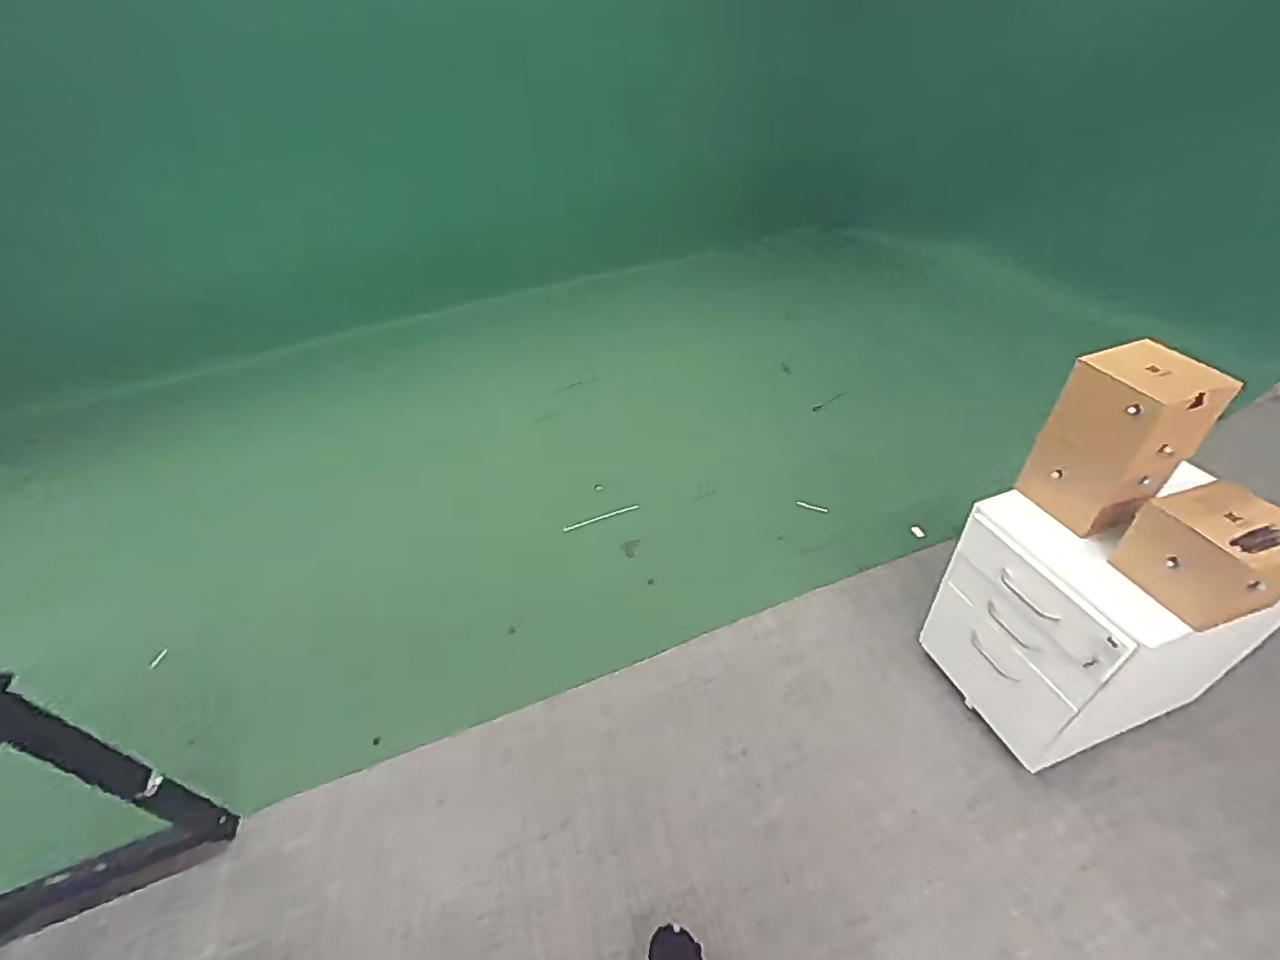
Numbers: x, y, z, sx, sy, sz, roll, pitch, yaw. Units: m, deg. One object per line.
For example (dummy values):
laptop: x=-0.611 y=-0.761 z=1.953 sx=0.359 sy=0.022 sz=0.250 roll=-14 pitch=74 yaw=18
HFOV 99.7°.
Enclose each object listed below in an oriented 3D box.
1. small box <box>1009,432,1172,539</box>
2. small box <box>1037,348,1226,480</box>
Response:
small box: x=0.938 y=-0.005 z=1.148 sx=0.168 sy=0.176 sz=0.179 roll=-17 pitch=42 yaw=-11
small box: x=0.925 y=-0.128 z=1.041 sx=0.168 sy=0.176 sz=0.179 roll=-15 pitch=44 yaw=-10
